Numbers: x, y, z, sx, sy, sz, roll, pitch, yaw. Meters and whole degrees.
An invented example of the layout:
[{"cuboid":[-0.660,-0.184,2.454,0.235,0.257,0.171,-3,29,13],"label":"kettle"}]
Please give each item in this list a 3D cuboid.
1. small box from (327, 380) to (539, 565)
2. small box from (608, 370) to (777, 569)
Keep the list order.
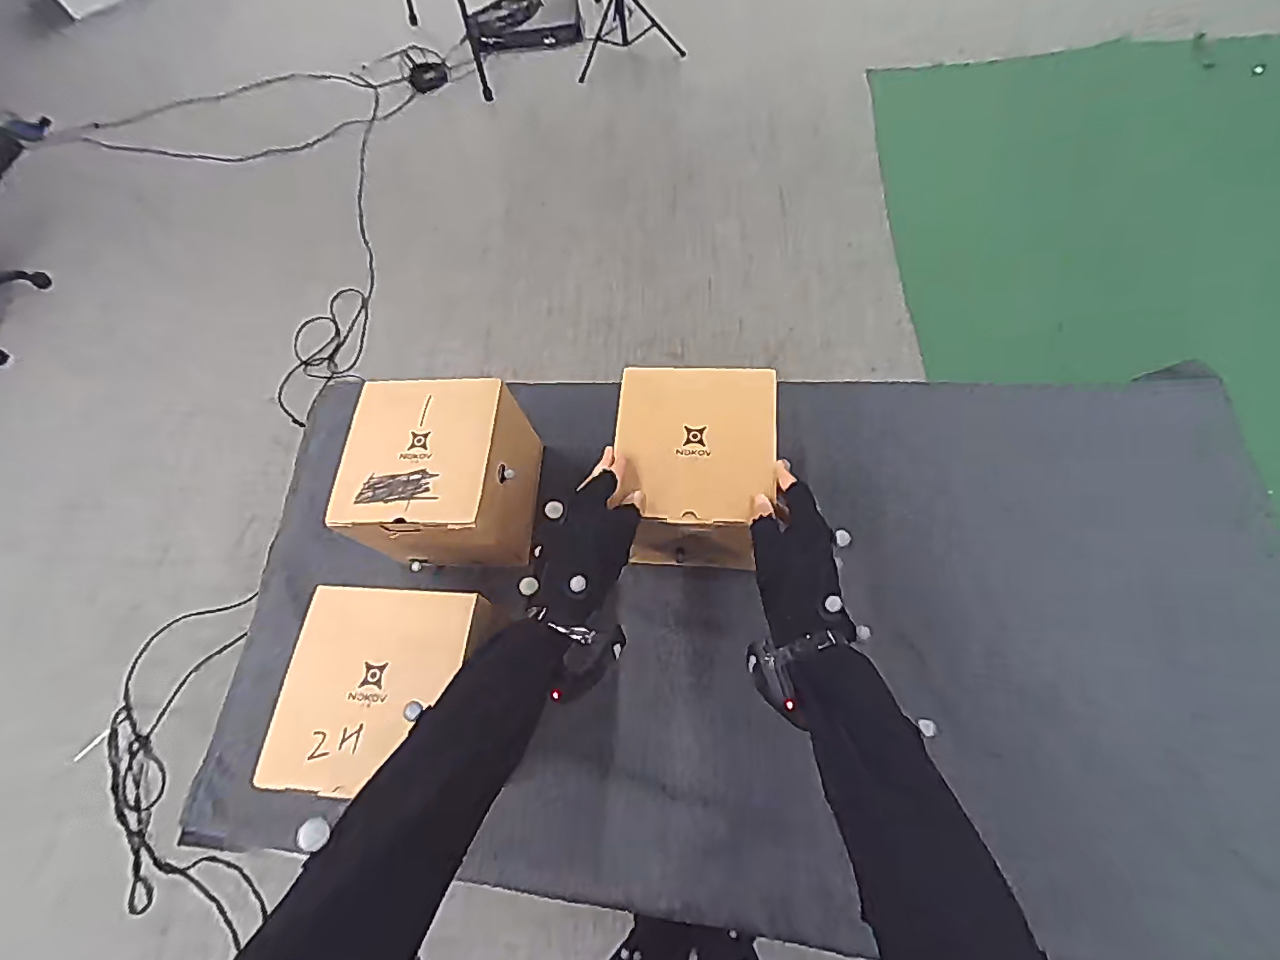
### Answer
[{"cuboid":[-0.228,0.000,0.649,0.168,0.176,0.179,0,66,7],"label":"small box"},{"cuboid":[0.063,-0.007,0.622,0.168,0.176,0.179,2,68,8],"label":"small box"}]
